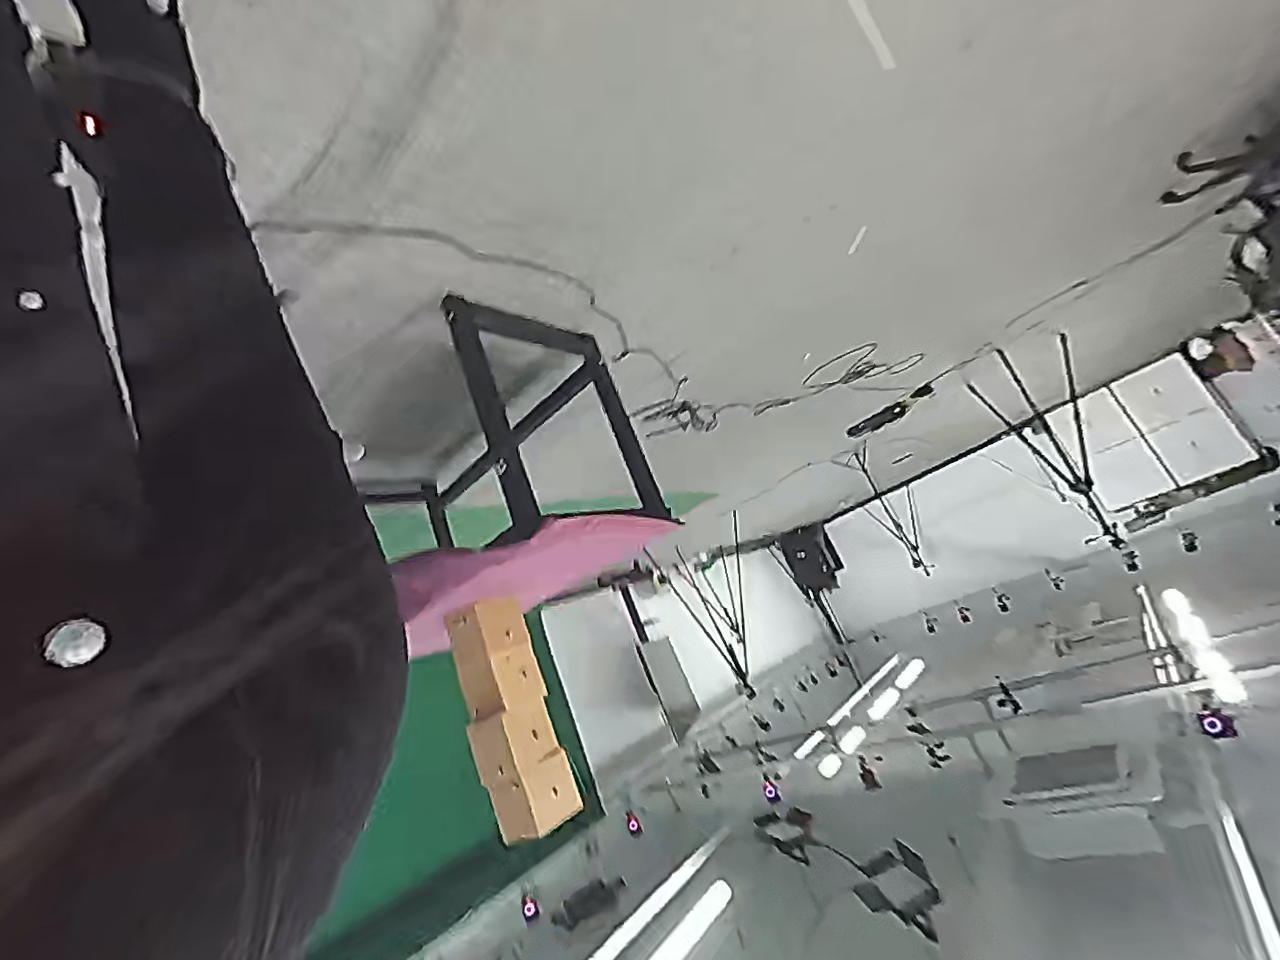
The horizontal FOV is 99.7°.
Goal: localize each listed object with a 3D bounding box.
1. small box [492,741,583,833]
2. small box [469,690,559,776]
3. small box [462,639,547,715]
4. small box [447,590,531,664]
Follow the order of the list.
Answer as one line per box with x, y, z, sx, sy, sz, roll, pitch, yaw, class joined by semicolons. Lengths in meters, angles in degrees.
-0.307;0.898;1.591;0.168;0.176;0.179;-32;163;32;small box
-0.379;0.753;1.625;0.168;0.176;0.179;-32;163;28;small box
-0.427;0.608;1.687;0.179;0.176;0.168;-33;162;31;small box
-0.484;0.461;1.726;0.168;0.176;0.179;-33;161;29;small box
